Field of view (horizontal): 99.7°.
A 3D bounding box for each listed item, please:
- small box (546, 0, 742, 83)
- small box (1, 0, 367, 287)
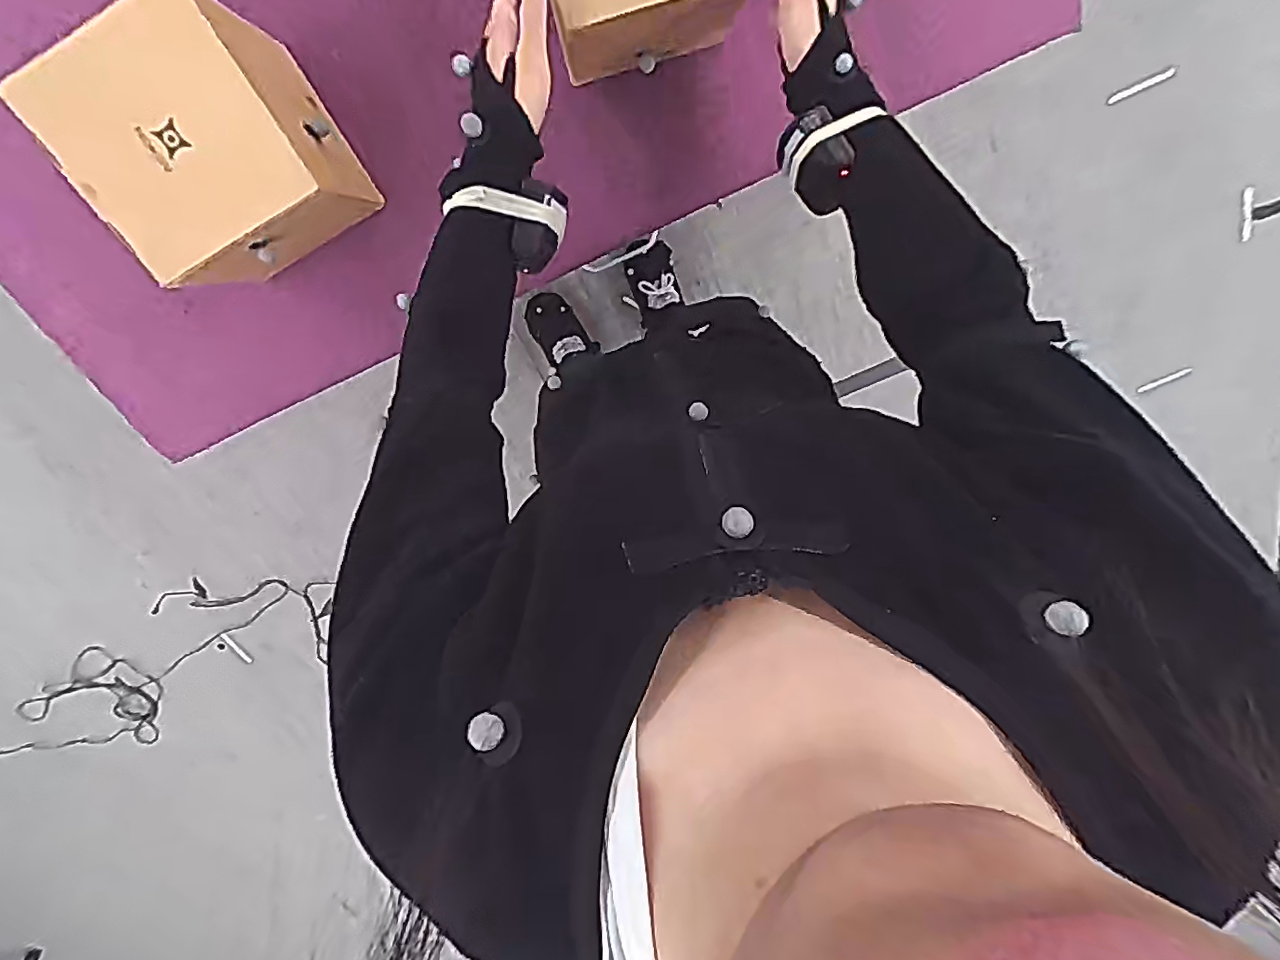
[{"bbox_3d":[-0.012,-0.487,0.469,0.168,0.176,0.179,-15,115,2],"label":"small box"},{"bbox_3d":[-0.393,-0.307,0.515,0.179,0.176,0.168,-27,113,7],"label":"small box"}]
